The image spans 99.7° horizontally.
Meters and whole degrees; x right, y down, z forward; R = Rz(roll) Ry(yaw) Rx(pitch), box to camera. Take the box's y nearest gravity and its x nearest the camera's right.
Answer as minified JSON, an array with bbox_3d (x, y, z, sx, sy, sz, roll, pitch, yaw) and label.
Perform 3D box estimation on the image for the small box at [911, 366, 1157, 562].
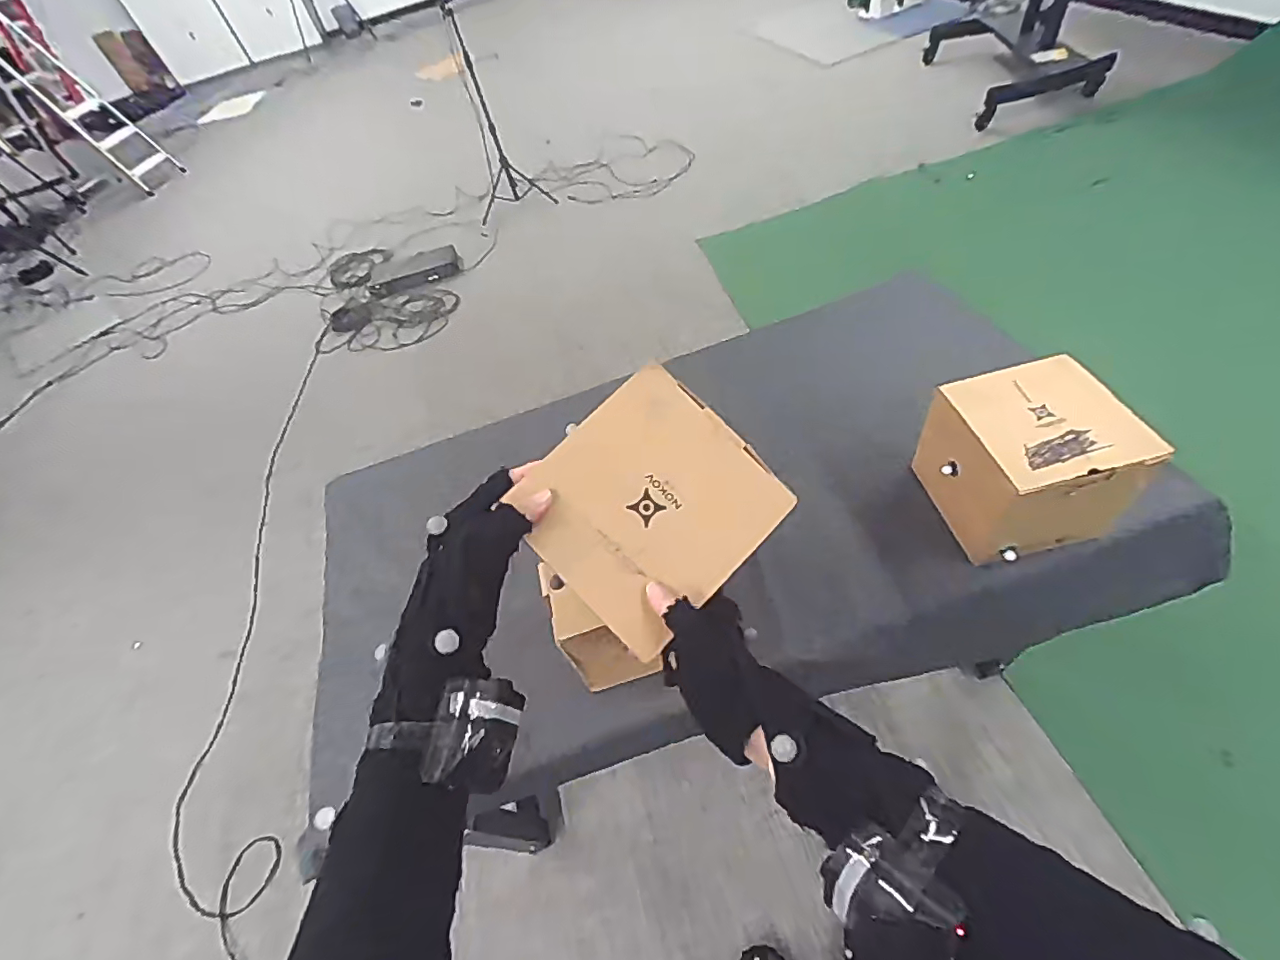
[{"bbox_3d":[0.480,-0.012,0.697,0.168,0.176,0.179,-14,50,3],"label":"small box"}]

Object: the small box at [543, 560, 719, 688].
[{"bbox_3d":[-0.011,0.141,0.691,0.179,0.176,0.168,-18,49,-1],"label":"small box"}]

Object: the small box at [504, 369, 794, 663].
[{"bbox_3d":[0.003,0.035,0.502,0.168,0.176,0.179,43,81,4],"label":"small box"}]
